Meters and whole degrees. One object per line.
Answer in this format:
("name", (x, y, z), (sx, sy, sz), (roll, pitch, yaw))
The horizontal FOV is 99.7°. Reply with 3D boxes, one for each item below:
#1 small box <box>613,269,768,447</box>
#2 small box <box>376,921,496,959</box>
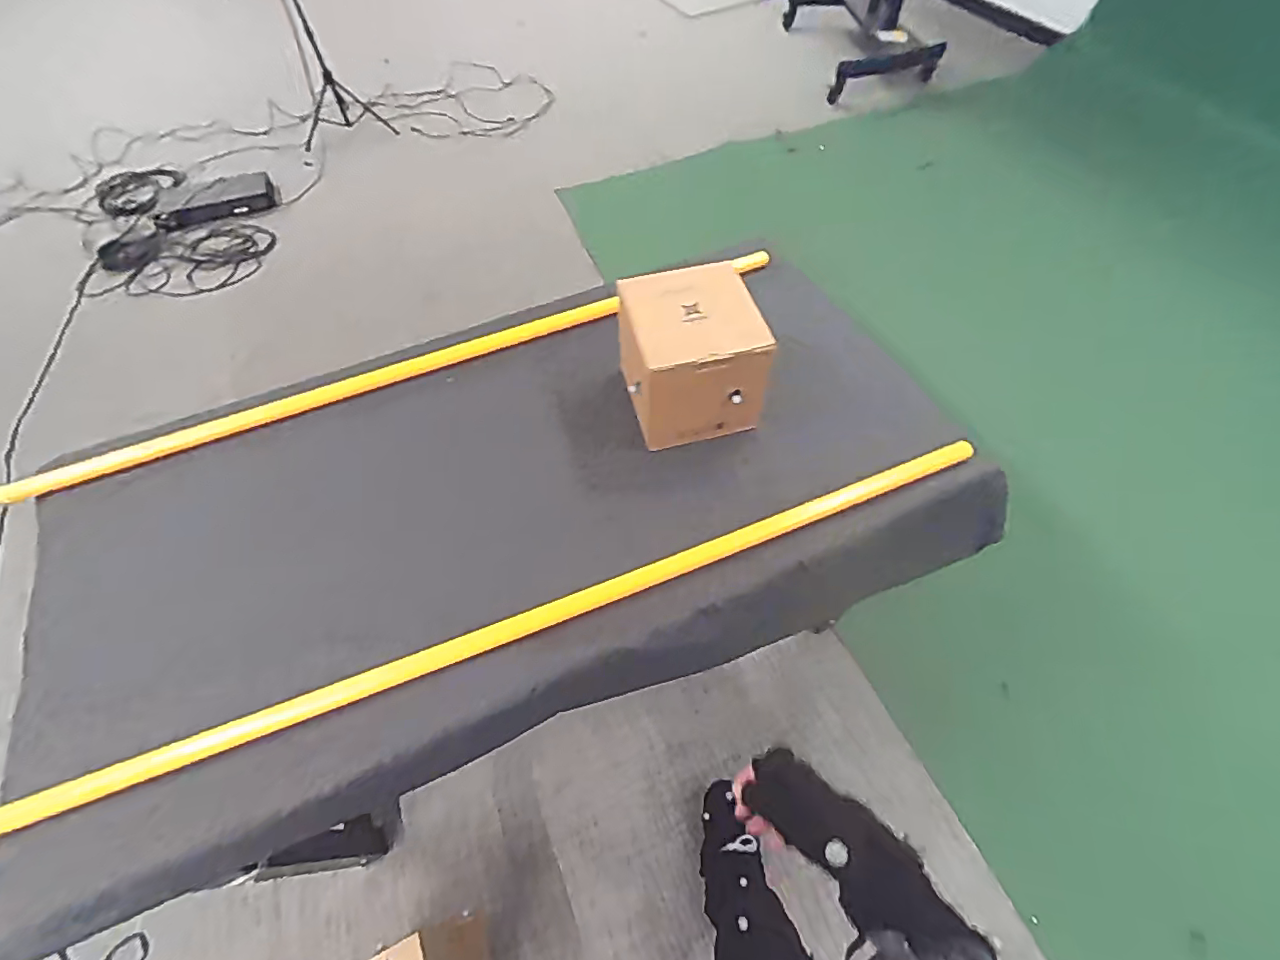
("small box", (0.064, -0.165, 0.768), (0.168, 0.176, 0.179), (-13, 56, -8))
("small box", (-0.354, 0.911, 0.951), (0.168, 0.176, 0.179), (-15, 59, -8))
